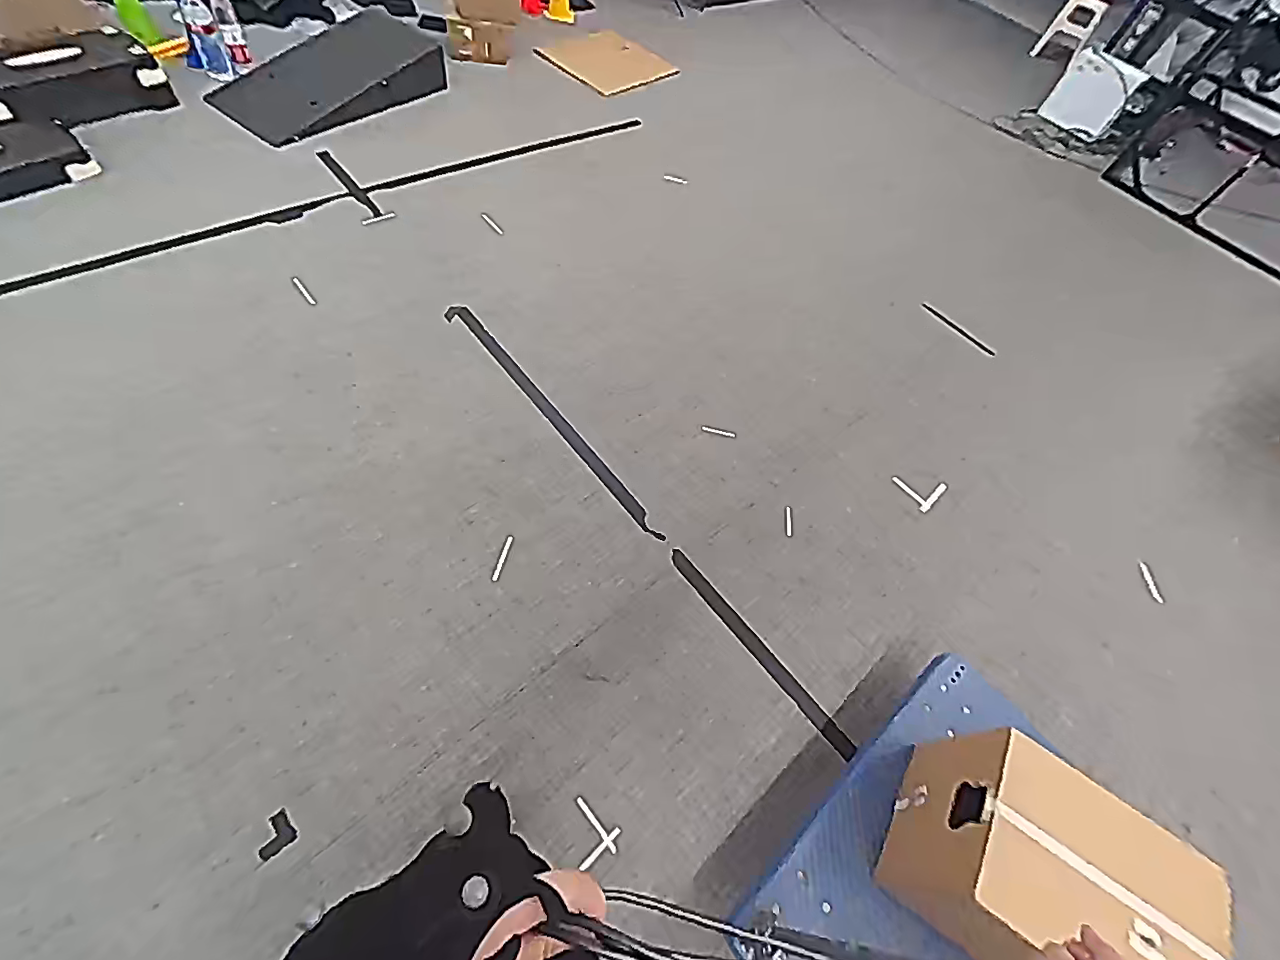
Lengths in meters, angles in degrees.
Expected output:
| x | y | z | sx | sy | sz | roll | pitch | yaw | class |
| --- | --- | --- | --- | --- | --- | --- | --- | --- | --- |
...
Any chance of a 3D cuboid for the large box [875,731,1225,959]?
| x | y | z | sx | sy | sz | roll | pitch | yaw | class |
| --- | --- | --- | --- | --- | --- | --- | --- | --- | --- |
| 0.740 | 0.747 | 1.021 | 0.408 | 0.320 | 0.320 | 34 | 59 | 10 | large box |
